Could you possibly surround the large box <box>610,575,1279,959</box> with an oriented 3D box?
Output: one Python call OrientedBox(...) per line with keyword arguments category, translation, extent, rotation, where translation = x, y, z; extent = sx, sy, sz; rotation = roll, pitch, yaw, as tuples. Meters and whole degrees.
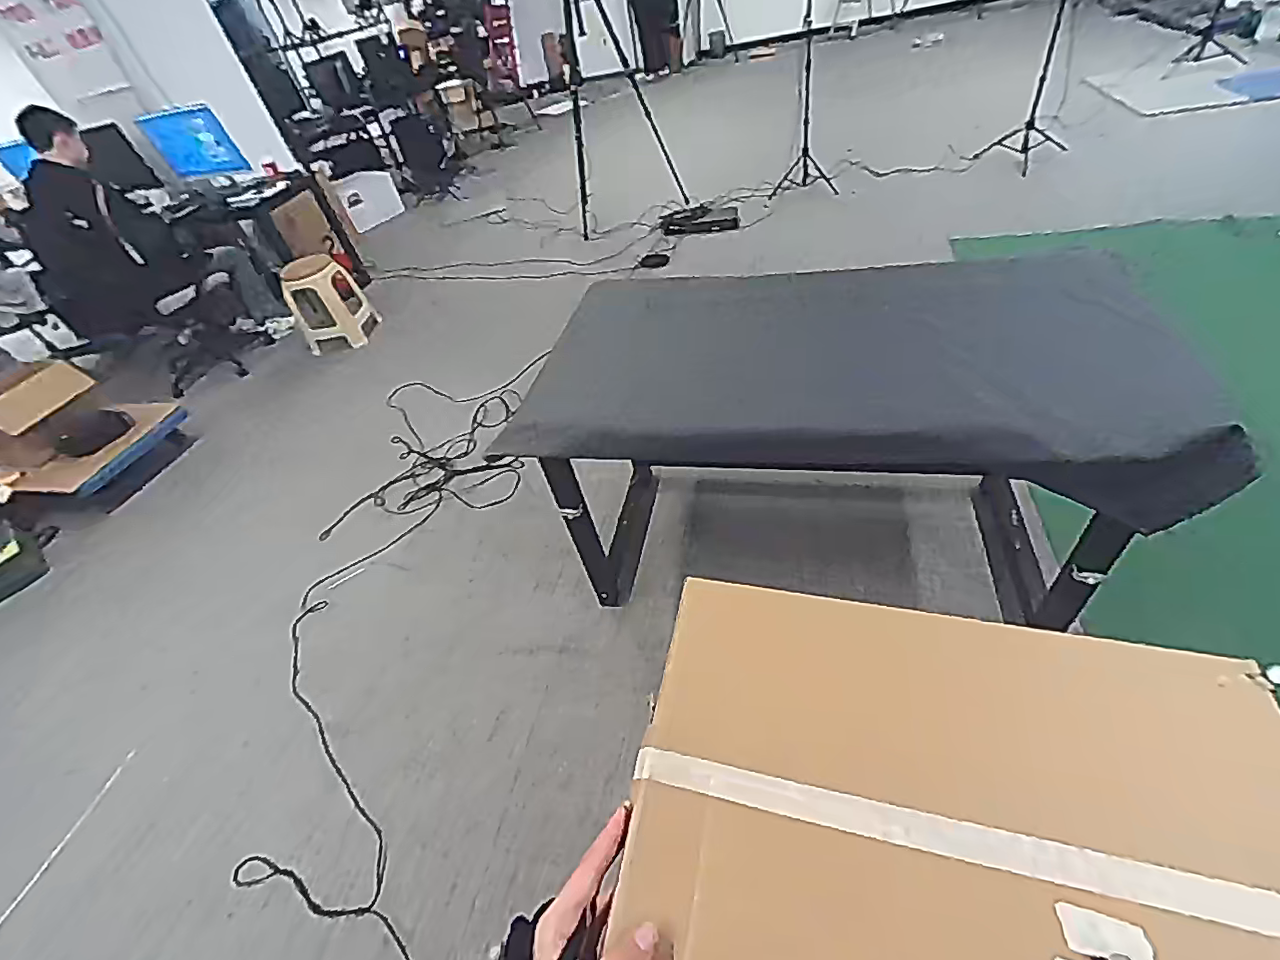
OrientedBox(category="large box", translation=(0.216, 0.316, 0.458), extent=(0.408, 0.320, 0.320), rotation=(7, 50, 15))
